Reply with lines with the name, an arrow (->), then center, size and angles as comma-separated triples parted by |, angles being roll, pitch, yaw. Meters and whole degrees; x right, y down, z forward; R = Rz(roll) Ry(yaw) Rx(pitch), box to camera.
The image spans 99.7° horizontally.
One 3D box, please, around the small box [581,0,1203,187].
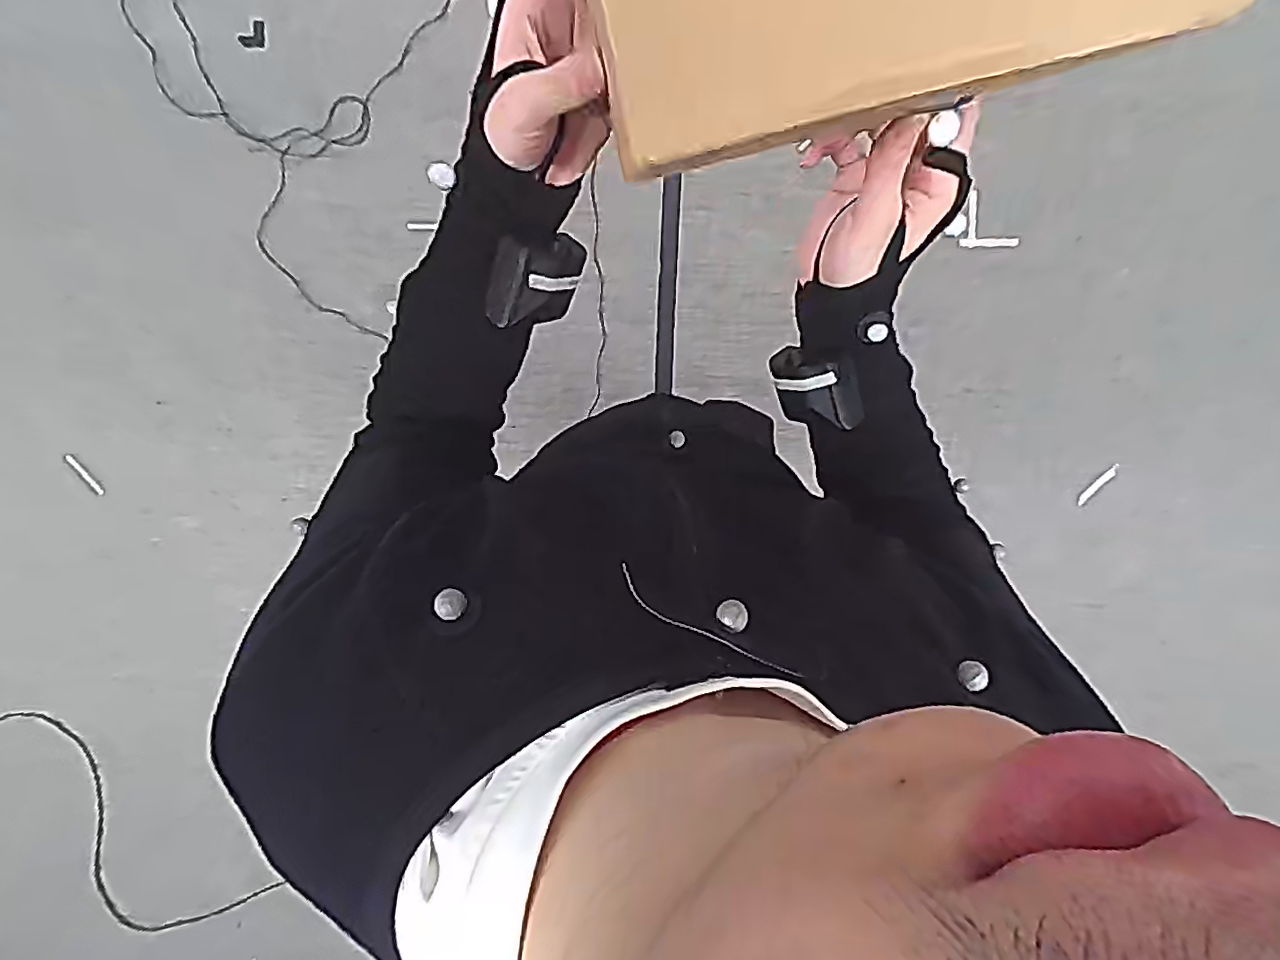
small box -> 0.060, -0.222, 0.202 | 0.179, 0.176, 0.168 | -14, 116, 5
